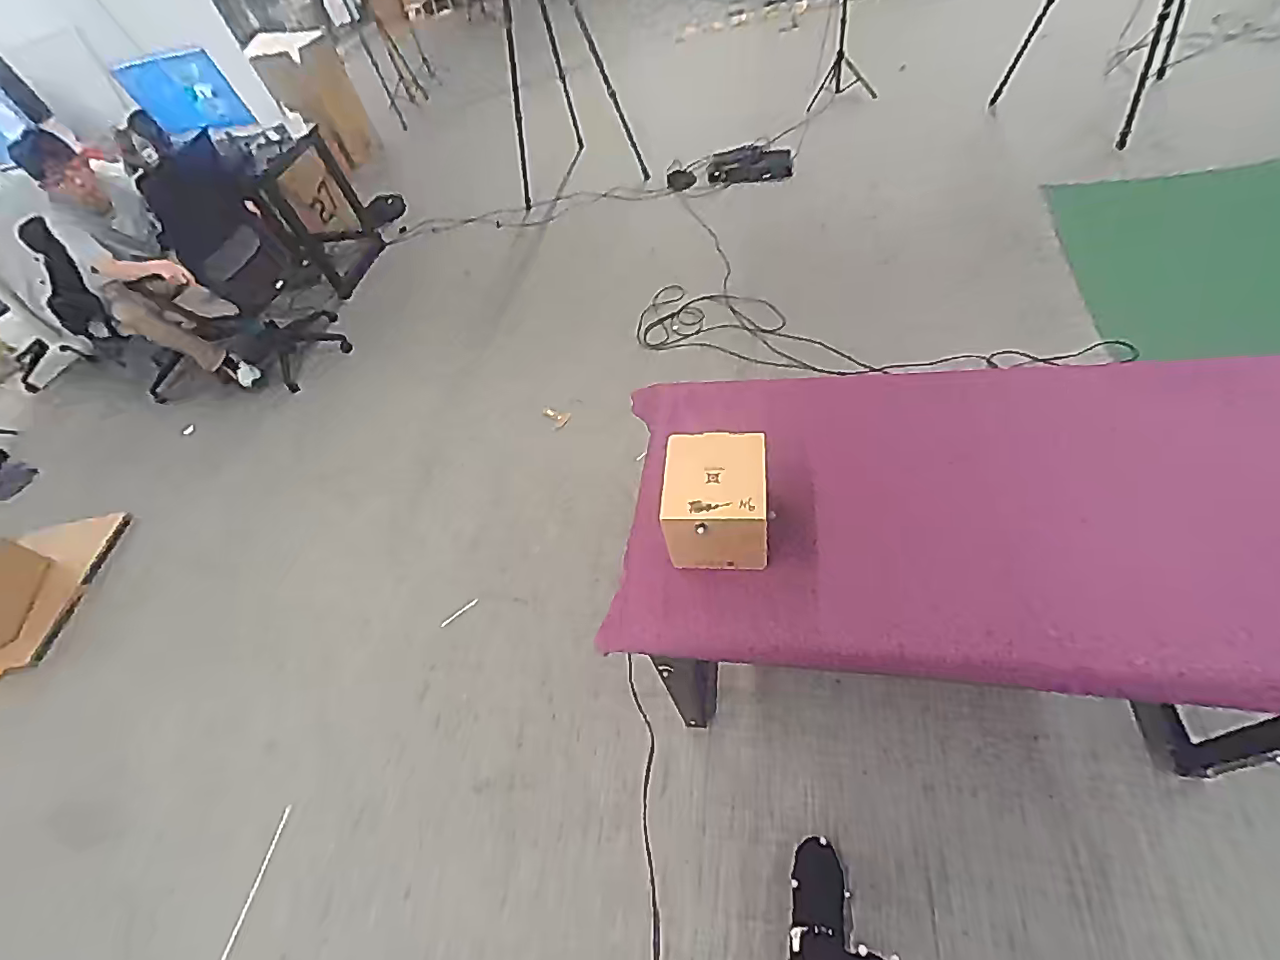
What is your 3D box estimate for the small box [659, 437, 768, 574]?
[{"bbox_3d":[0.135,0.045,0.937,0.168,0.176,0.179,-1,53,13],"label":"small box"}]
